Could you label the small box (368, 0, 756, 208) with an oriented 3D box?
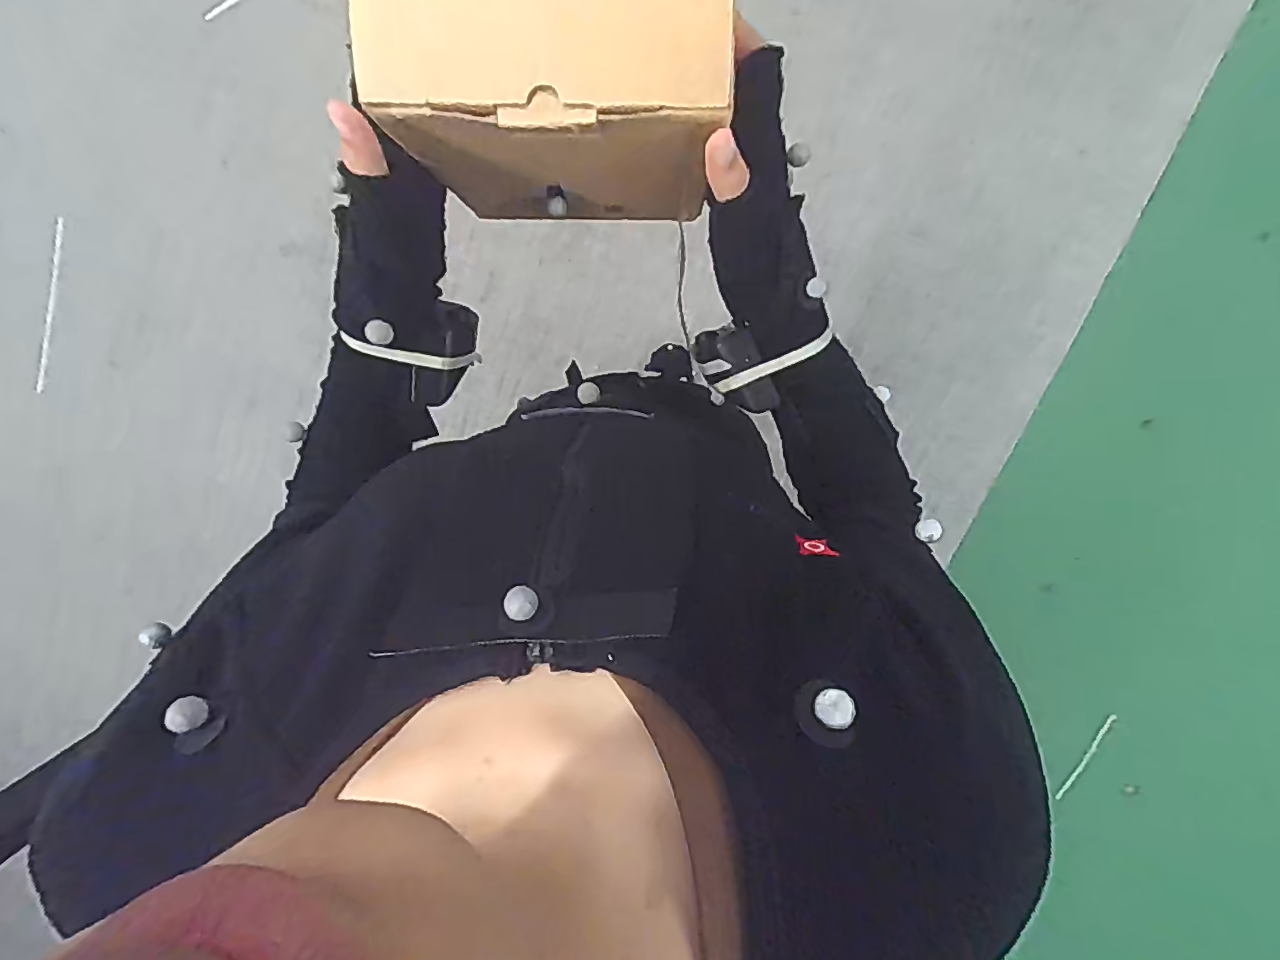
[{"bbox_3d":[-0.032,-0.268,0.296,0.168,0.176,0.179,0,102,0],"label":"small box"}]
